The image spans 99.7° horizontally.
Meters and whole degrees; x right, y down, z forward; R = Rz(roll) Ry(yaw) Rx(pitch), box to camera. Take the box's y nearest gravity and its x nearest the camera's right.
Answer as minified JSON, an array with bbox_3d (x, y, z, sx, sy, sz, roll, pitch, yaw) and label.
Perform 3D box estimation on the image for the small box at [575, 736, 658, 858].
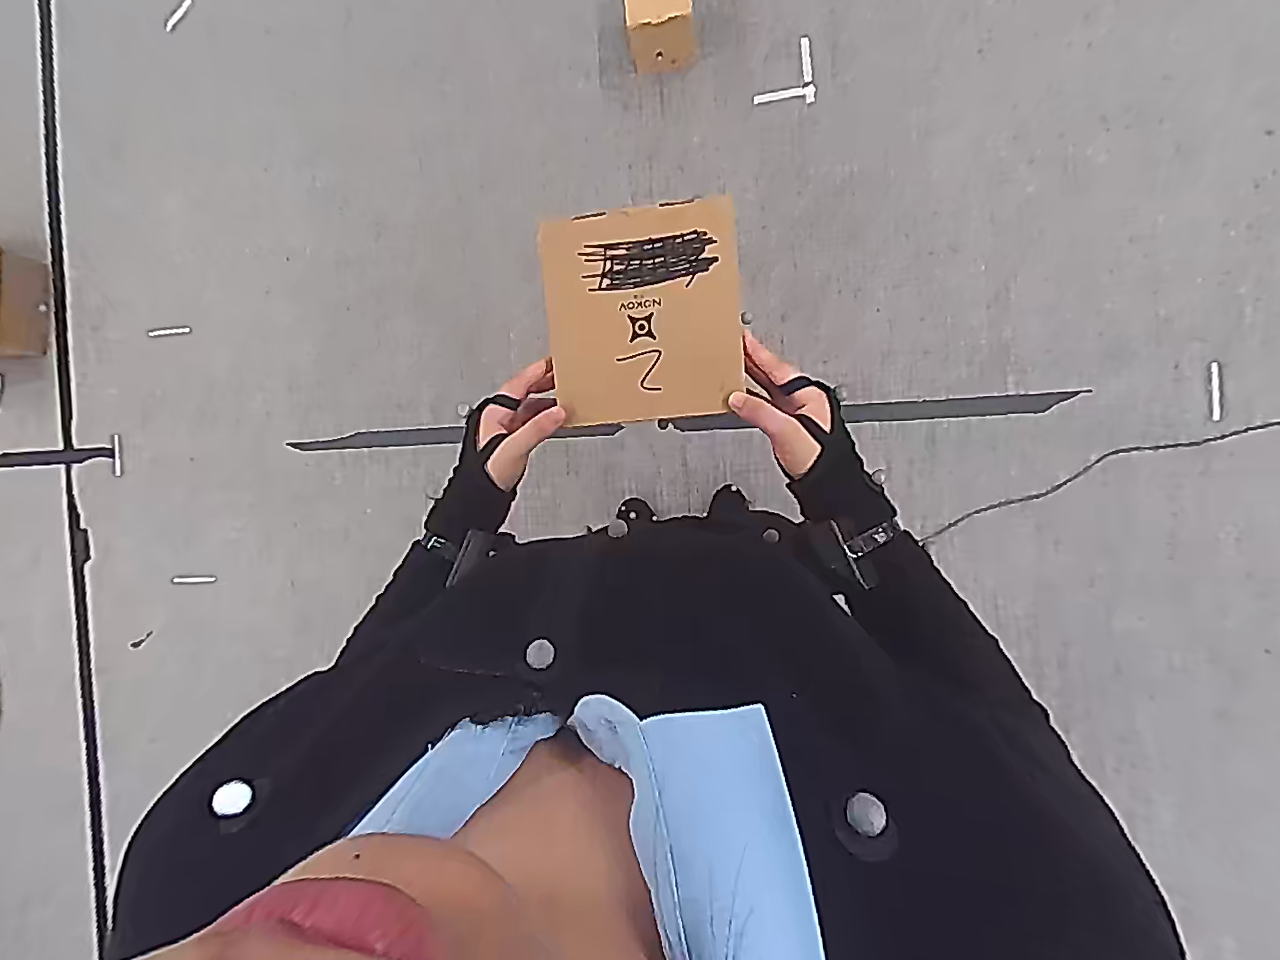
[{"bbox_3d":[-0.048,0.717,1.238,0.168,0.176,0.179,-1,90,8],"label":"small box"}]

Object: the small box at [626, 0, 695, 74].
[{"bbox_3d":[0.055,-1.215,1.410,0.168,0.176,0.179,-5,90,9],"label":"small box"}]
